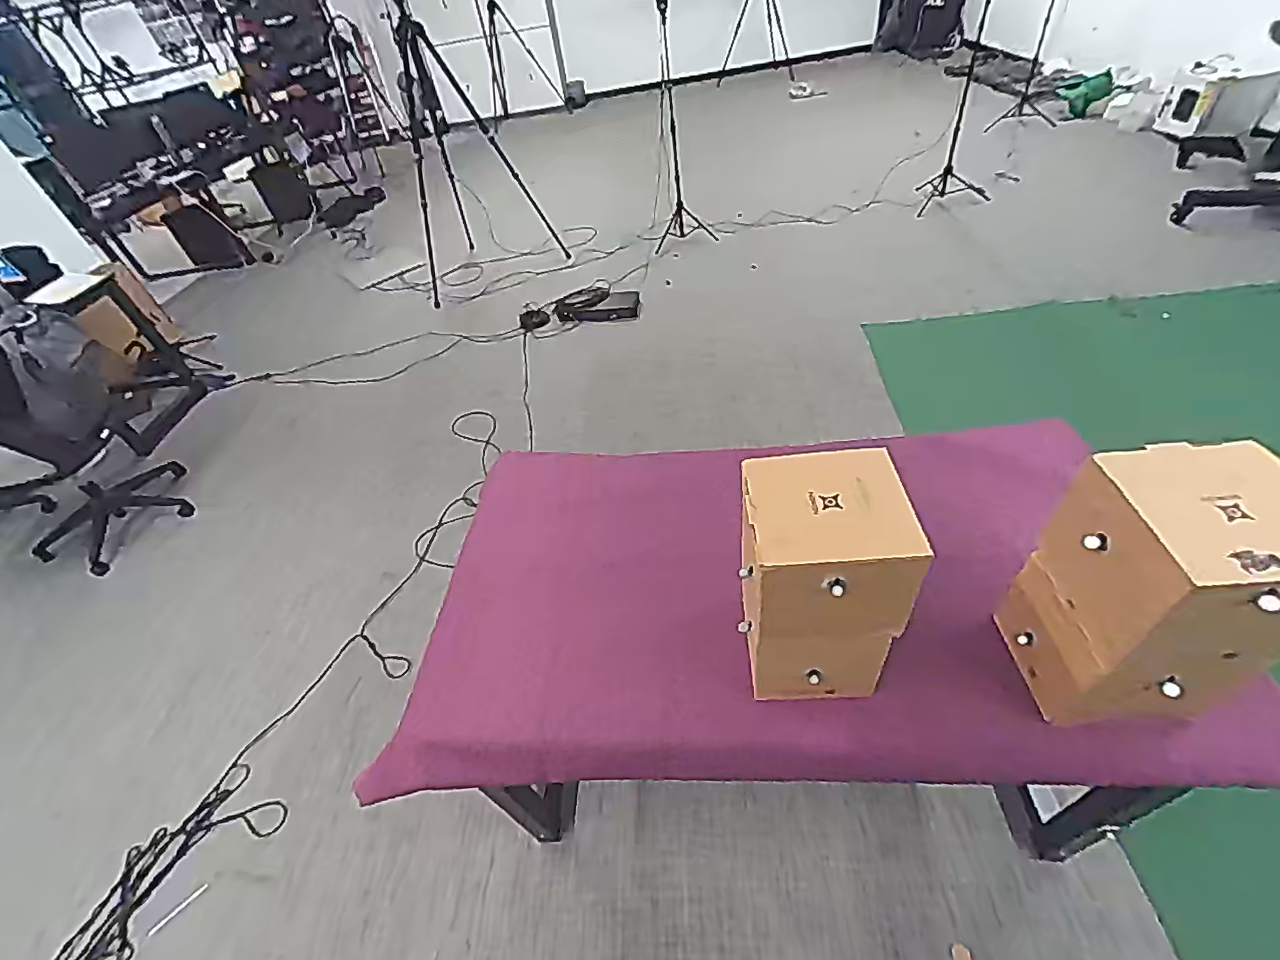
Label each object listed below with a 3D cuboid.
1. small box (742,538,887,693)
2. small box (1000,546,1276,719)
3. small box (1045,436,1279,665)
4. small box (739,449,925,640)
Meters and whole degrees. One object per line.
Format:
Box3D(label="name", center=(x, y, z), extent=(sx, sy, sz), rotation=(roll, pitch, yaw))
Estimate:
Box3D(label="small box", center=(0.242, 0.196, 0.784), extent=(0.168, 0.176, 0.179), rotation=(-5, 43, 8))
Box3D(label="small box", center=(0.612, 0.194, 0.700), extent=(0.179, 0.176, 0.168), rotation=(-7, 45, 8))
Box3D(label="small box", center=(0.587, 0.078, 0.586), extent=(0.168, 0.176, 0.179), rotation=(-7, 44, 9))
Box3D(label="small box", center=(0.220, 0.084, 0.666), extent=(0.179, 0.176, 0.168), rotation=(-5, 45, 8))
